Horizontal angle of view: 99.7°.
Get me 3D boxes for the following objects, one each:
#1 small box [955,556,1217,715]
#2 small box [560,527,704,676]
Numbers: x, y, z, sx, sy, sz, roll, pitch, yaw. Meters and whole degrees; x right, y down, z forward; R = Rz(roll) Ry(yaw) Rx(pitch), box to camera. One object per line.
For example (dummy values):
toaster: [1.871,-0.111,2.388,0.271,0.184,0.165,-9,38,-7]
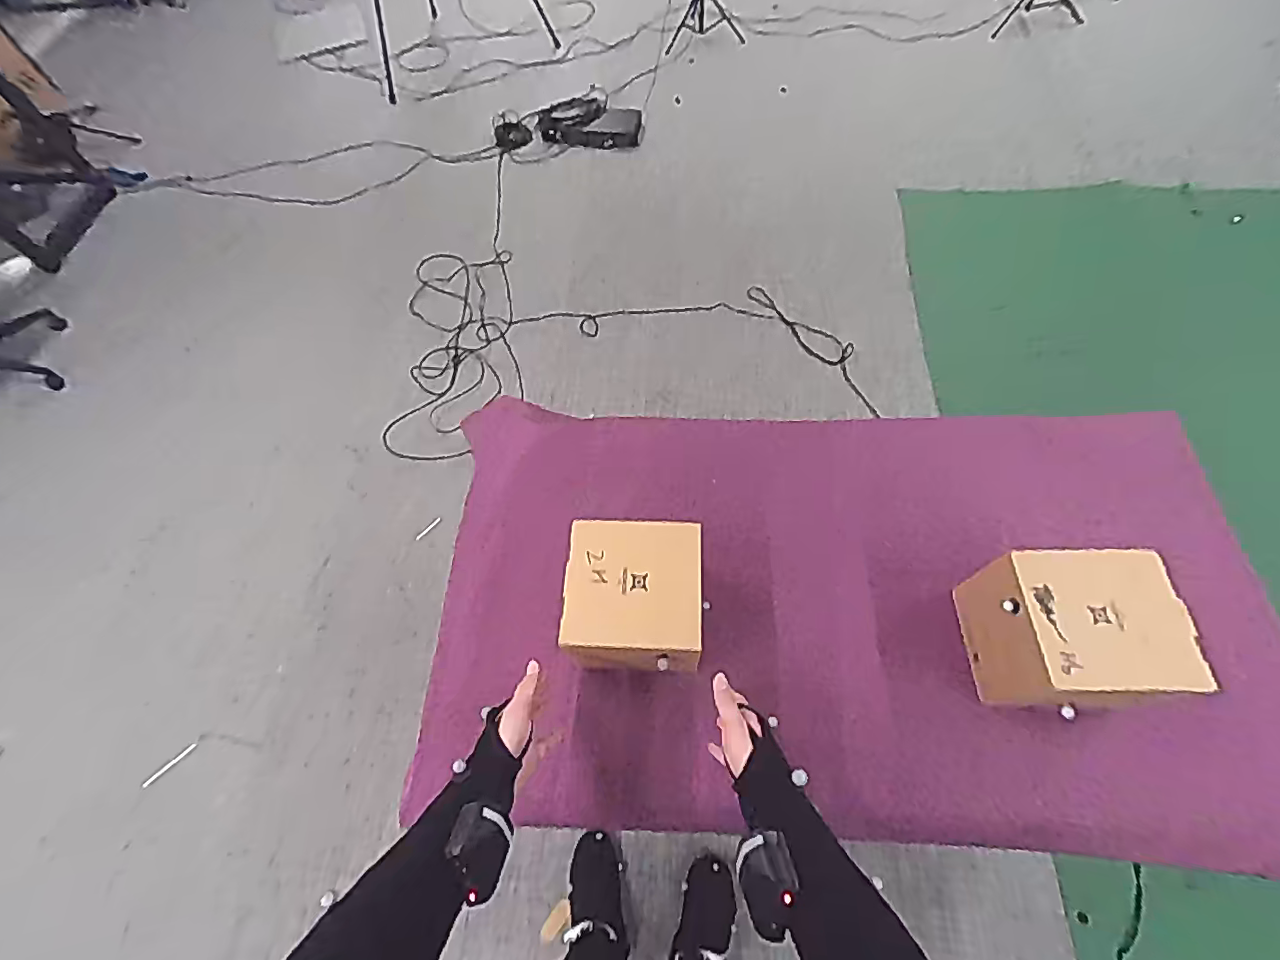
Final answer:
small box: [0.548,0.205,0.698,0.179,0.176,0.168,-1,61,4]
small box: [-0.003,0.176,0.759,0.179,0.176,0.168,1,62,5]
